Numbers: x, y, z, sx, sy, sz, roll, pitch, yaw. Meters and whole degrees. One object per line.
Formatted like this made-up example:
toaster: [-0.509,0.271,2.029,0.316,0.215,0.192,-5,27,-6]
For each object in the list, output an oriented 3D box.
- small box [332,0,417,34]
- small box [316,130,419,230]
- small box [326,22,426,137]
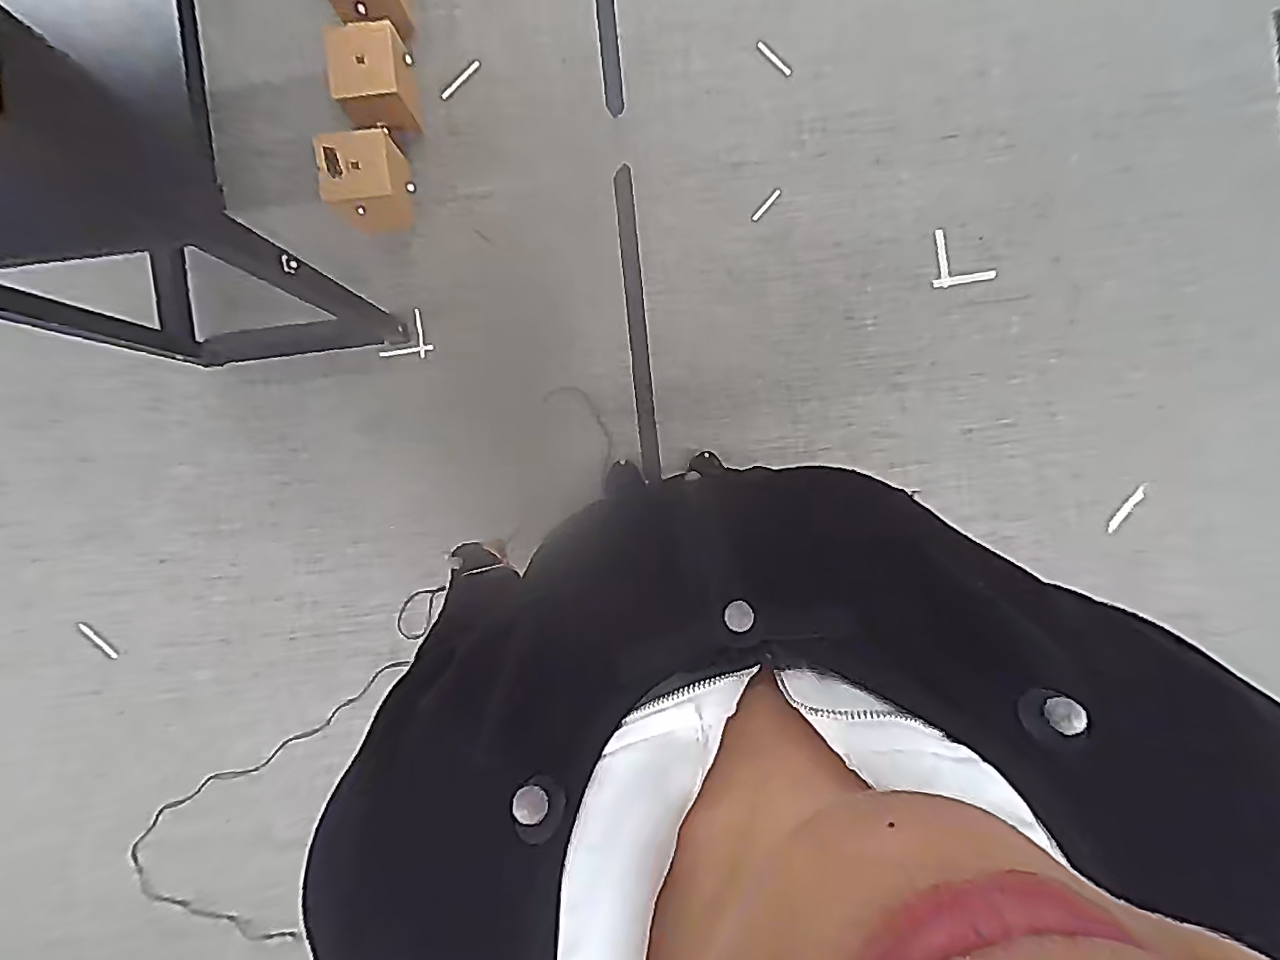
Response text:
small box: [-0.703,-1.290,1.394,0.179,0.176,0.168,-7,92,1]
small box: [-0.702,-0.772,1.409,0.179,0.176,0.168,-7,92,0]
small box: [-0.678,-1.029,1.403,0.168,0.176,0.179,-7,92,2]
